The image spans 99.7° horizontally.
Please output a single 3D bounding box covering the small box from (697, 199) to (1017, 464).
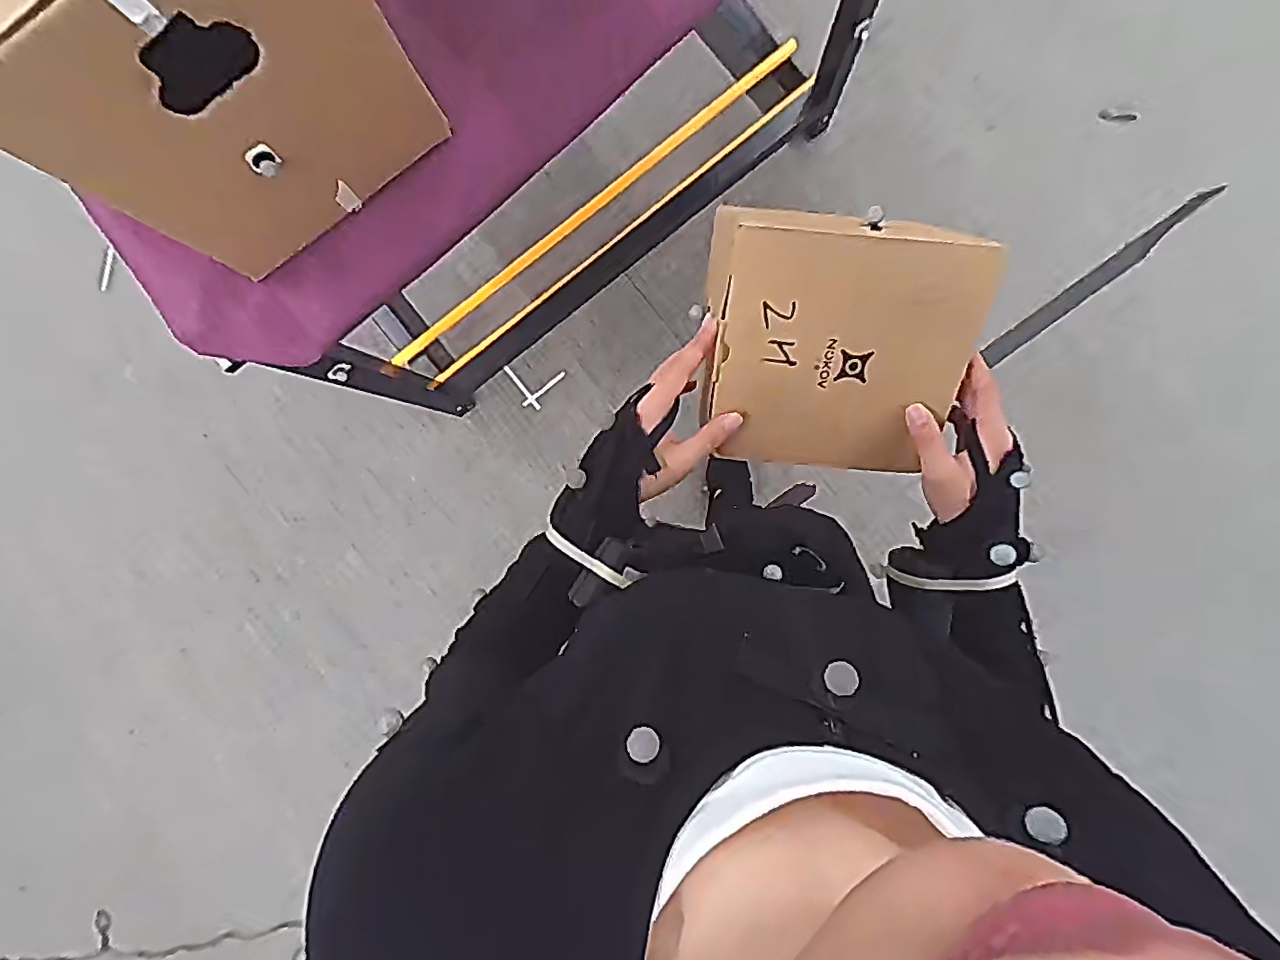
[{"bbox_3d":[0.147,-0.130,0.445,0.179,0.176,0.168,5,121,0],"label":"small box"}]
